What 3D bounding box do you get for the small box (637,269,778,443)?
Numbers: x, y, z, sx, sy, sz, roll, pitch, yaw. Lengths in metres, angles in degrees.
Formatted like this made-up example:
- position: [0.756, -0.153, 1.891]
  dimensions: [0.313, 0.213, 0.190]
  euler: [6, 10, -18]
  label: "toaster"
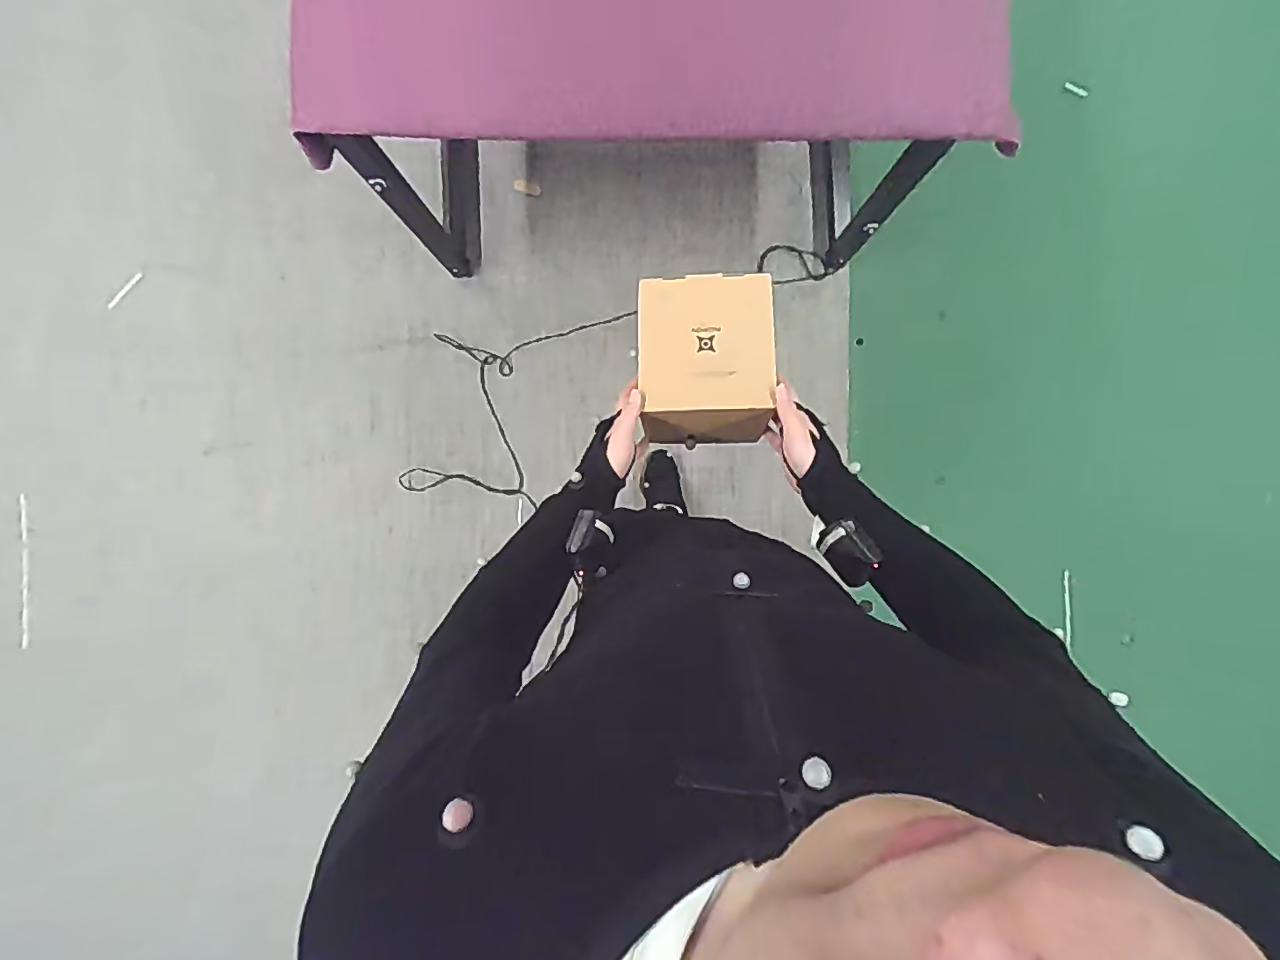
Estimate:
- position: [0.084, -0.155, 0.719]
  dimensions: [0.168, 0.176, 0.179]
  euler: [-1, 80, 4]
  label: "small box"
